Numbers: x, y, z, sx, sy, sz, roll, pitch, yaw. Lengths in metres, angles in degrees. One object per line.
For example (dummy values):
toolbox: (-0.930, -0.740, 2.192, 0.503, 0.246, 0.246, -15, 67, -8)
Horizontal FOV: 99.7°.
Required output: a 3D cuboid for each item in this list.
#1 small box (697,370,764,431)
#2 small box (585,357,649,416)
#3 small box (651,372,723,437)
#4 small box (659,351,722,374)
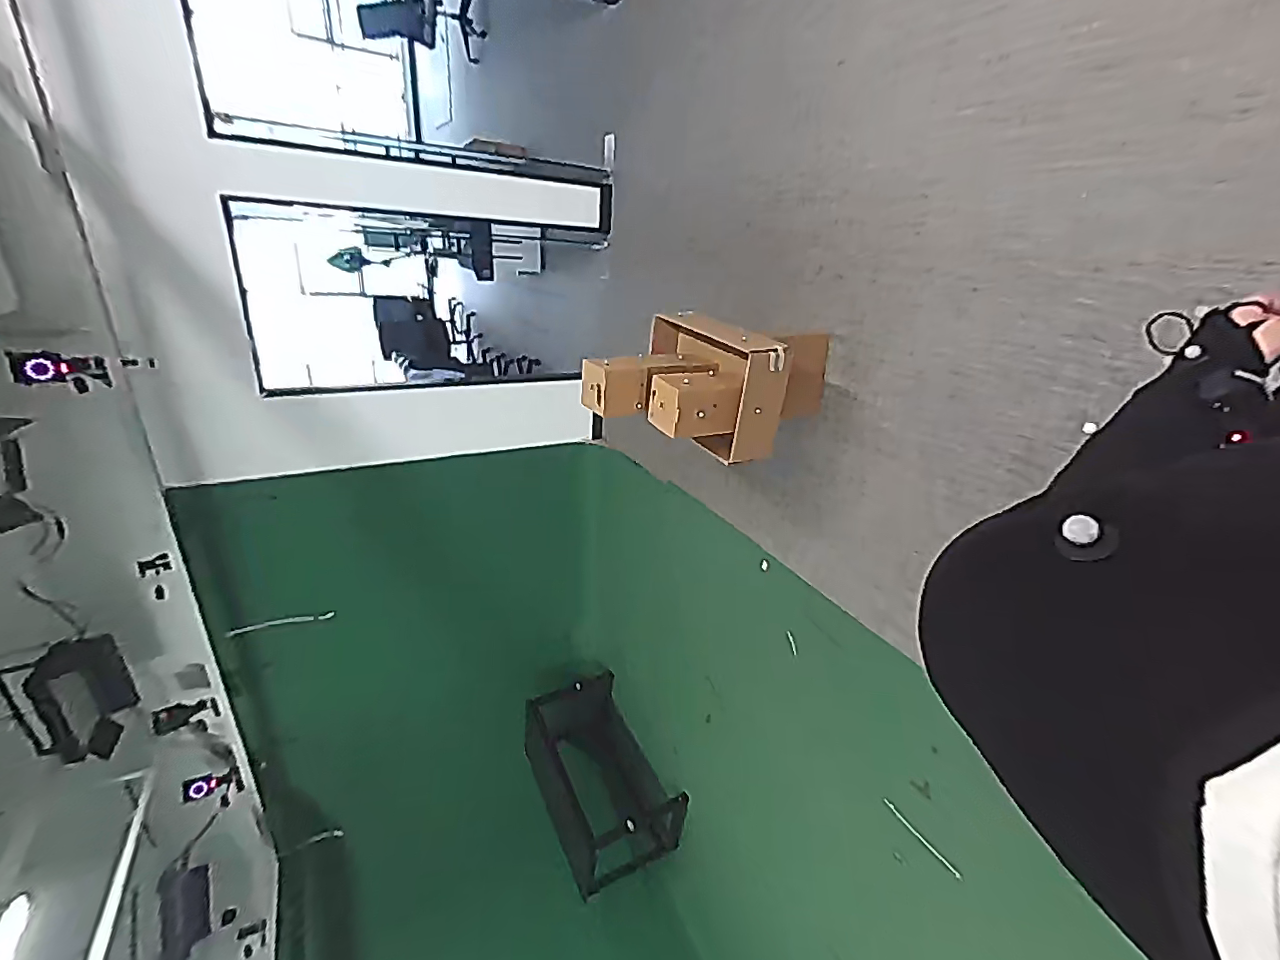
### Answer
small box: (0.302, -0.283, 1.889, 0.179, 0.176, 0.168, 45, 136, 50)
small box: (-0.081, -0.337, 1.904, 0.179, 0.176, 0.168, 37, 129, 50)
small box: (0.158, -0.260, 1.815, 0.179, 0.176, 0.168, 43, 134, 50)
small box: (0.188, -0.396, 2.085, 0.179, 0.176, 0.168, 38, 130, 49)
